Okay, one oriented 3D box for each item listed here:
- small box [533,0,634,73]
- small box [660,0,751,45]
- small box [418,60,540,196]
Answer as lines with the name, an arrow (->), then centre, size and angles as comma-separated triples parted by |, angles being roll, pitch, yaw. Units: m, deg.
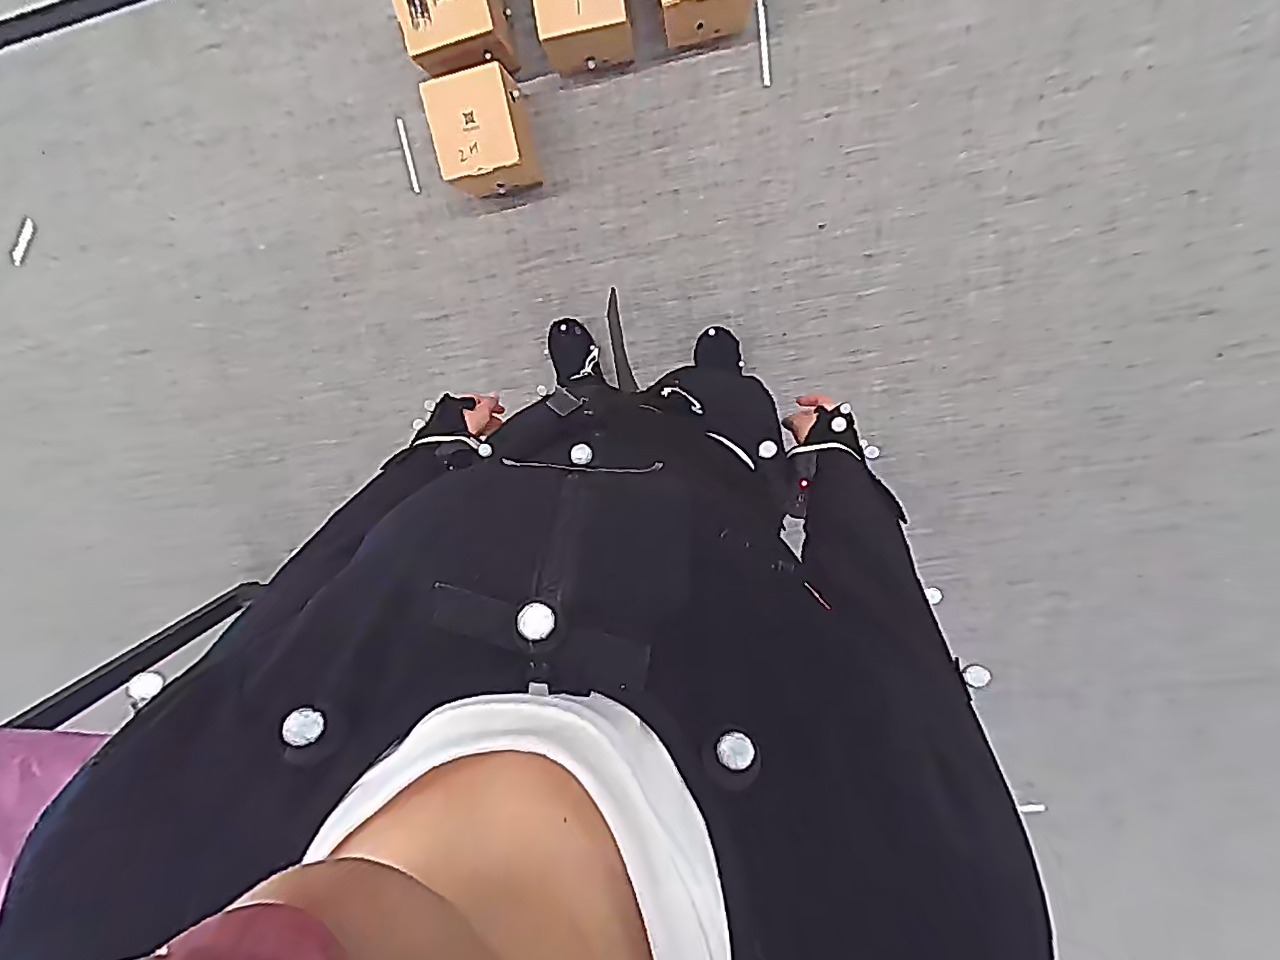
small box -> -0.109, -0.919, 1.026 | 0.168, 0.176, 0.179 | -5, 108, 8
small box -> 0.113, -0.954, 0.995 | 0.168, 0.176, 0.179 | -7, 107, 8
small box -> -0.320, -0.711, 1.112 | 0.168, 0.176, 0.179 | -8, 106, 9
